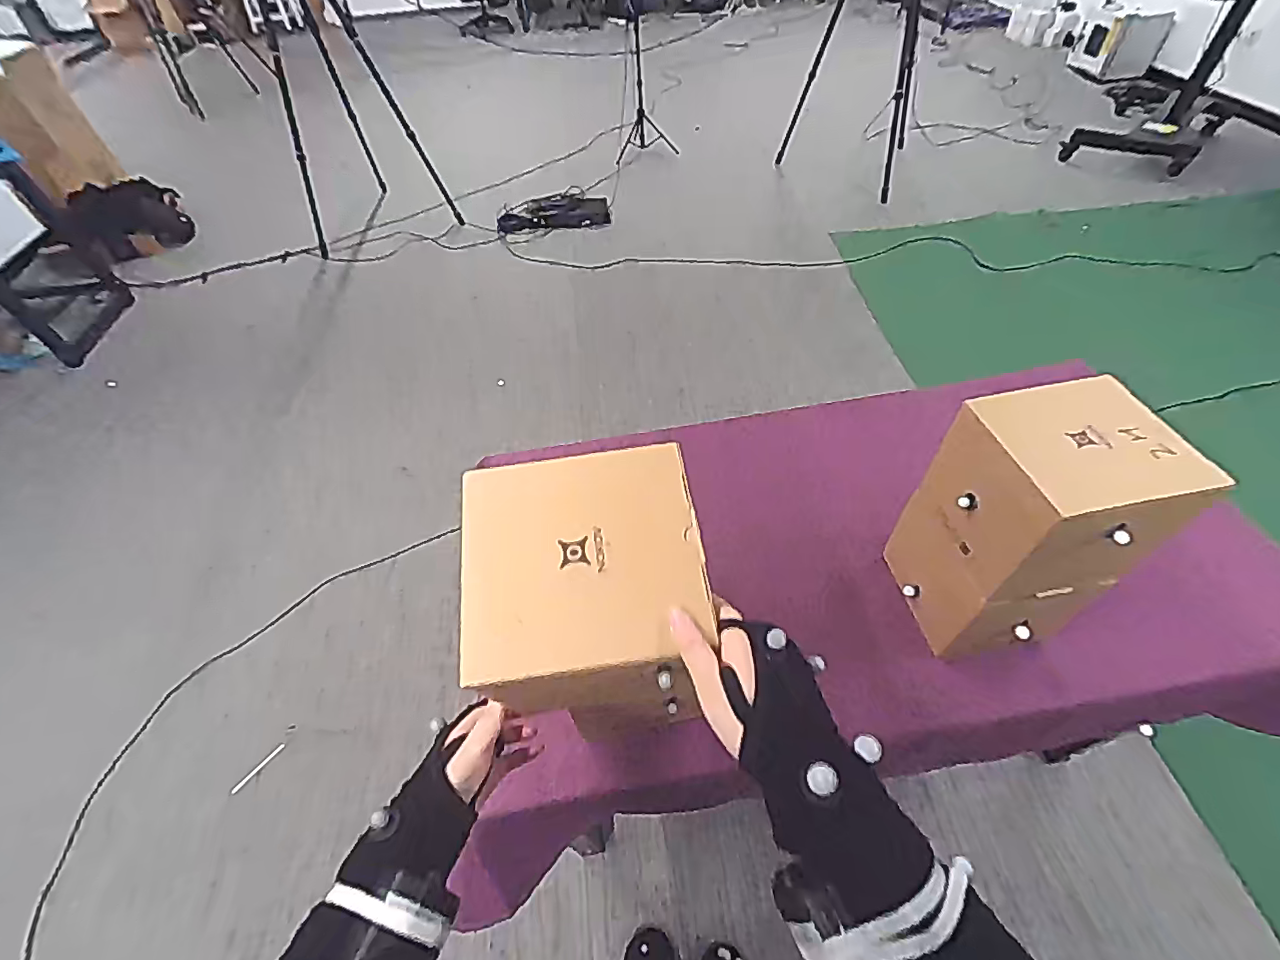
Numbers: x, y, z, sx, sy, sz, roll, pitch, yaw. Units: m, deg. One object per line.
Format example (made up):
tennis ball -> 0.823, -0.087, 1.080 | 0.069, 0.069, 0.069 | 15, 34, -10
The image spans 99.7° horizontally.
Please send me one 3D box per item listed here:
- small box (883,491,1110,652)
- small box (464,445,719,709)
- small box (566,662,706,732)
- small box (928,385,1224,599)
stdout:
small box -> 0.466, 0.122, 0.744 | 0.168, 0.176, 0.179 | -9, 51, -3
small box -> -0.038, 0.092, 0.468 | 0.179, 0.176, 0.168 | -8, 60, -3
small box -> -0.014, 0.212, 0.705 | 0.168, 0.176, 0.179 | -9, 50, -5
small box -> 0.460, 0.018, 0.615 | 0.179, 0.176, 0.168 | -9, 51, -3
